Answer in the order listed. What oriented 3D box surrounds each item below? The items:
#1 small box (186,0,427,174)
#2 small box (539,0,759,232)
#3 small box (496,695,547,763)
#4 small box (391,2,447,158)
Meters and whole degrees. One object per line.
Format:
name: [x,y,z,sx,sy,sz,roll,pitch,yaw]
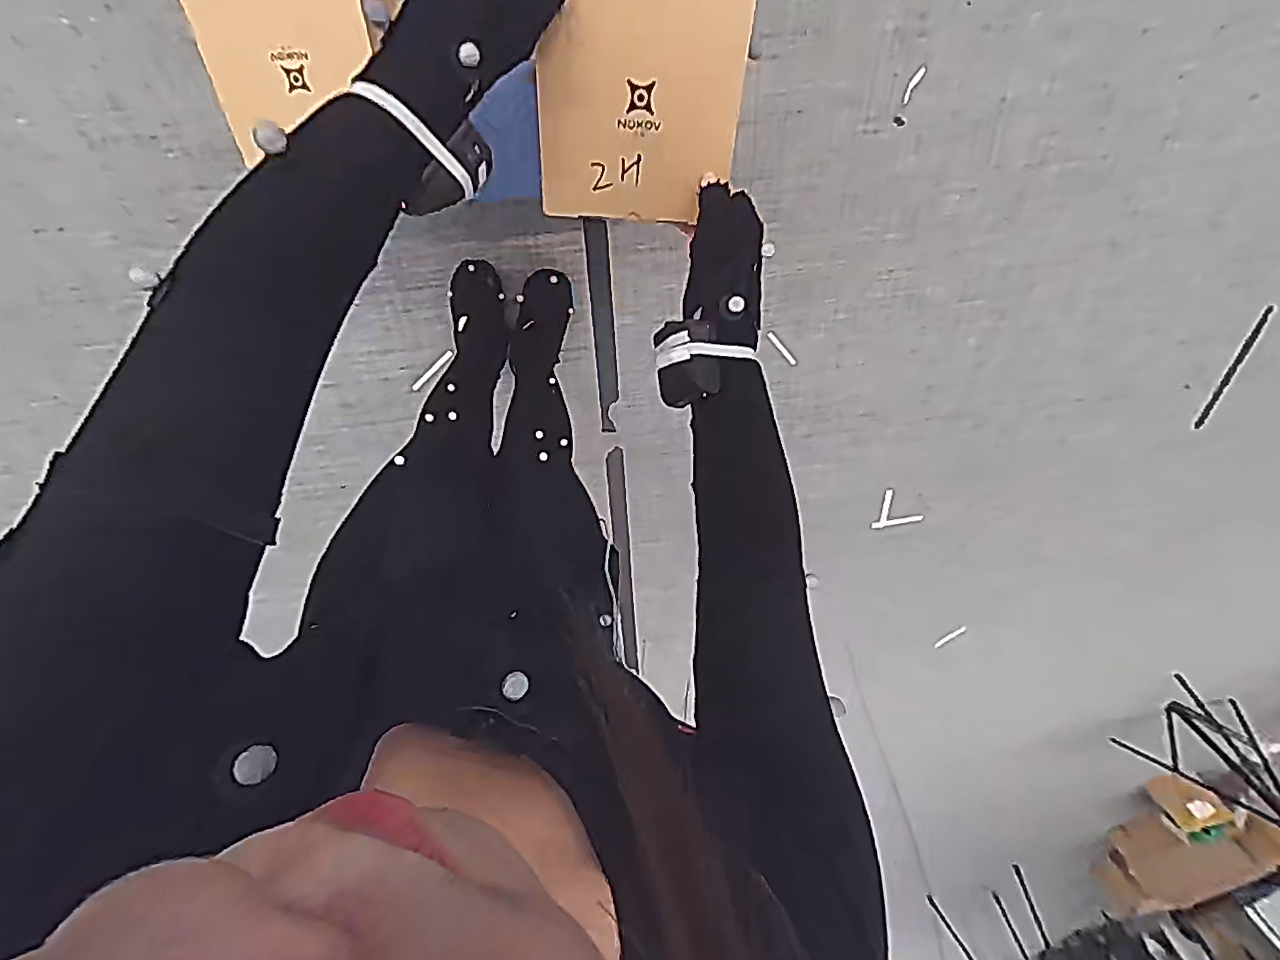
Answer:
small box: [-0.359,-0.459,0.618,0.168,0.176,0.179,-5,125,-5]
small box: [0.000,-0.354,0.503,0.168,0.176,0.179,4,133,-2]
small box: [-0.451,0.956,2.078,0.168,0.176,0.179,-6,126,-6]
small box: [-0.376,-0.553,0.752,0.179,0.176,0.168,-3,126,-6]
